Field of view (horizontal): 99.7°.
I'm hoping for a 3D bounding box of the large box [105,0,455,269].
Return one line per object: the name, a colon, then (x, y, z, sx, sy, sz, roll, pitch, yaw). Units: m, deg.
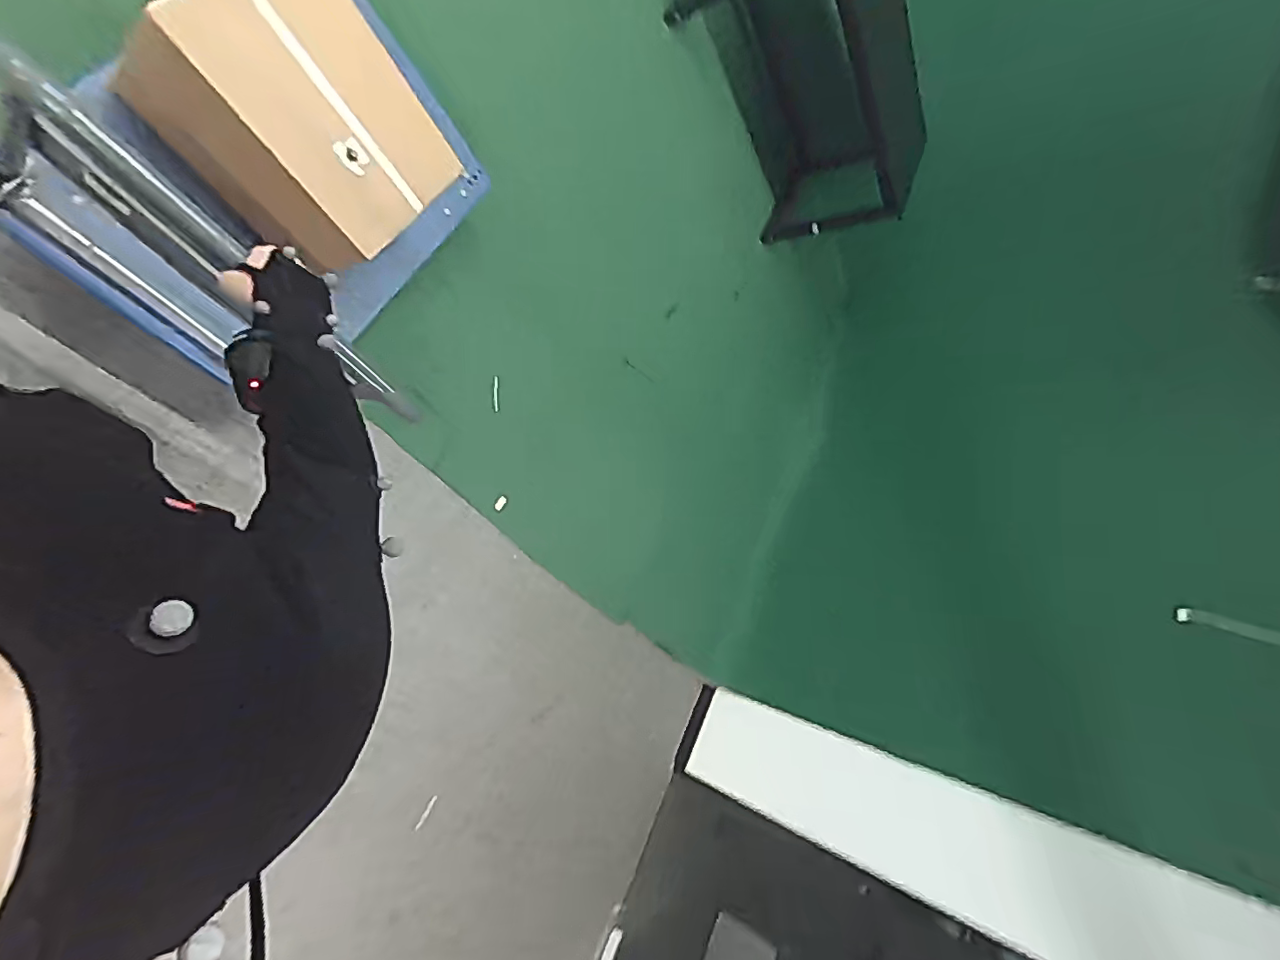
large box: (-0.661, -0.684, 1.038, 0.320, 0.320, 0.408, -60, 137, -25)
